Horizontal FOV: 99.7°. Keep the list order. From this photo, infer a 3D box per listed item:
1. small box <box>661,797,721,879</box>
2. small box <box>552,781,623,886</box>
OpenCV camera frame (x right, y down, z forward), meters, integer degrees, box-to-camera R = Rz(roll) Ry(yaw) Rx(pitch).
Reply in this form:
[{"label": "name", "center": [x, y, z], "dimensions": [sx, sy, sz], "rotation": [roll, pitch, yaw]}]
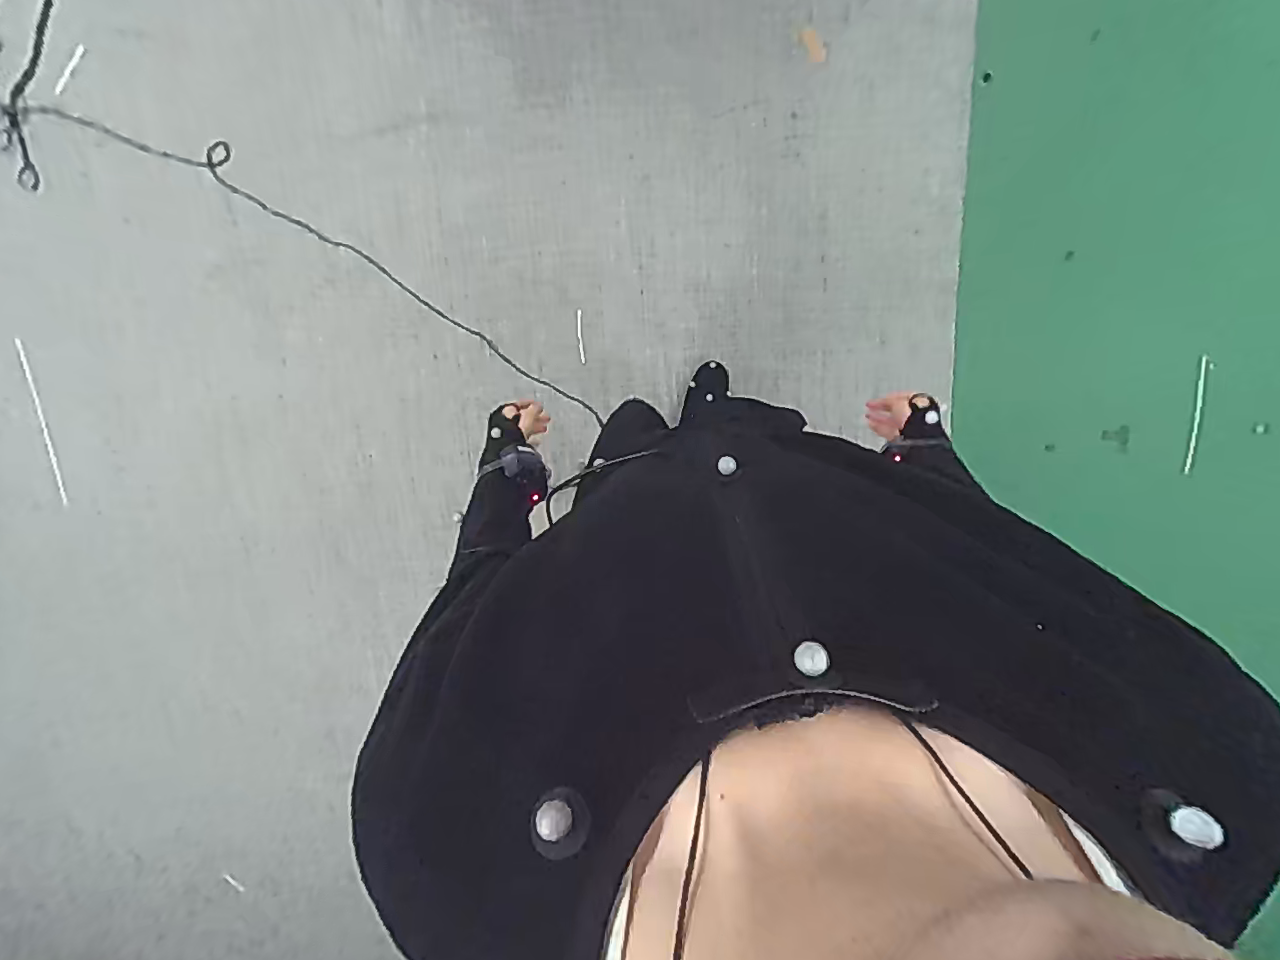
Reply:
[{"label": "small box", "center": [0.148, 1.040, 1.608], "dimensions": [0.168, 0.176, 0.179], "rotation": [-1, 101, 2]}, {"label": "small box", "center": [-0.150, 1.046, 1.610], "dimensions": [0.168, 0.176, 0.179], "rotation": [16, 101, -2]}]
